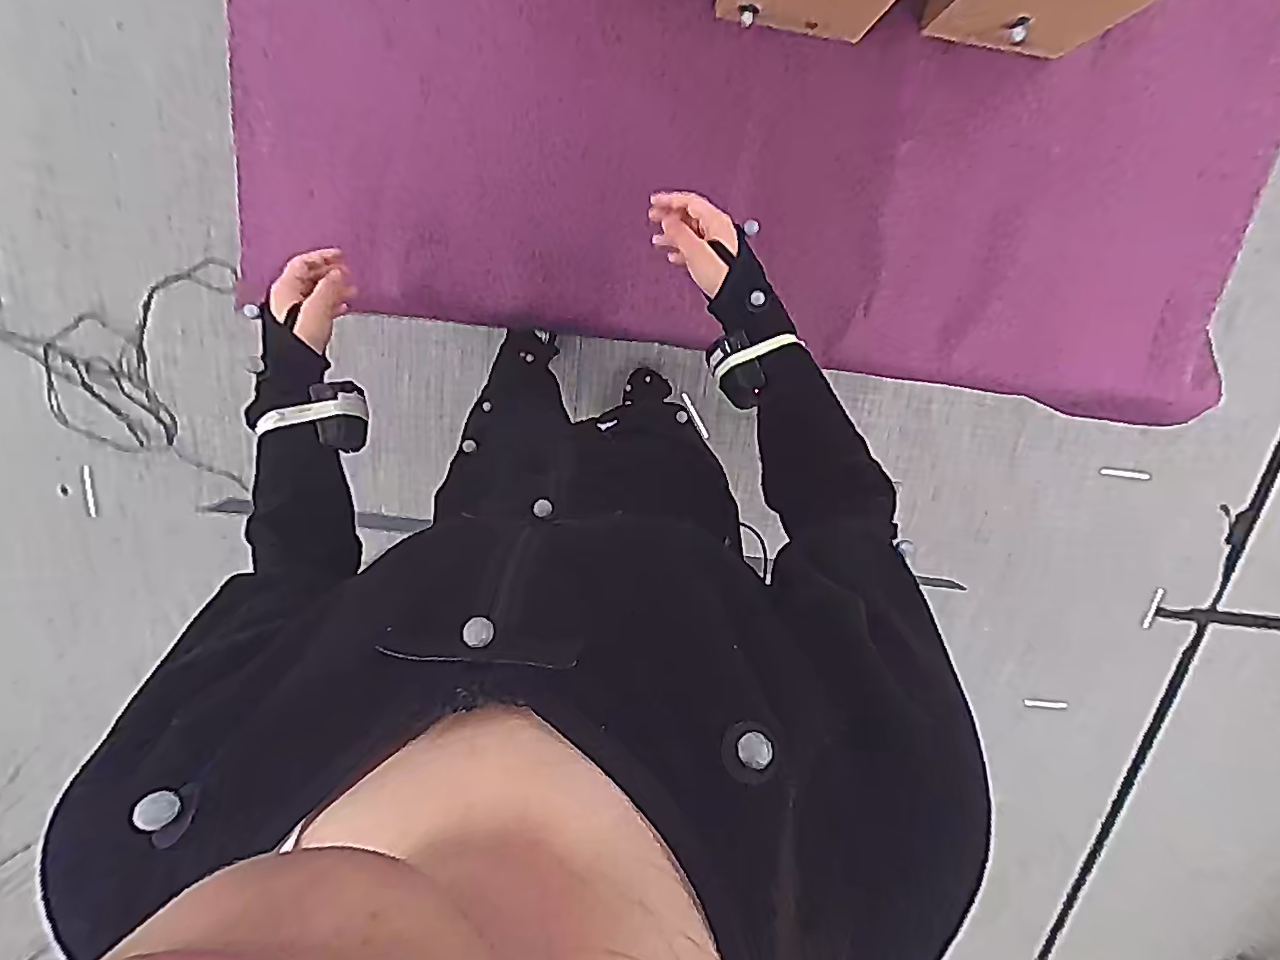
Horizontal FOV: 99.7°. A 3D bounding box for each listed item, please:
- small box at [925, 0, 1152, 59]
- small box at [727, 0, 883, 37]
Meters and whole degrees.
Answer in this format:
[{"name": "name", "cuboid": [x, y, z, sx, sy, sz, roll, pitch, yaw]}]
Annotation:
[{"name": "small box", "cuboid": [0.407, -0.550, 0.514, 0.168, 0.176, 0.179, 7, 107, -4]}, {"name": "small box", "cuboid": [0.176, -0.556, 0.499, 0.168, 0.176, 0.179, 6, 107, -5]}]
